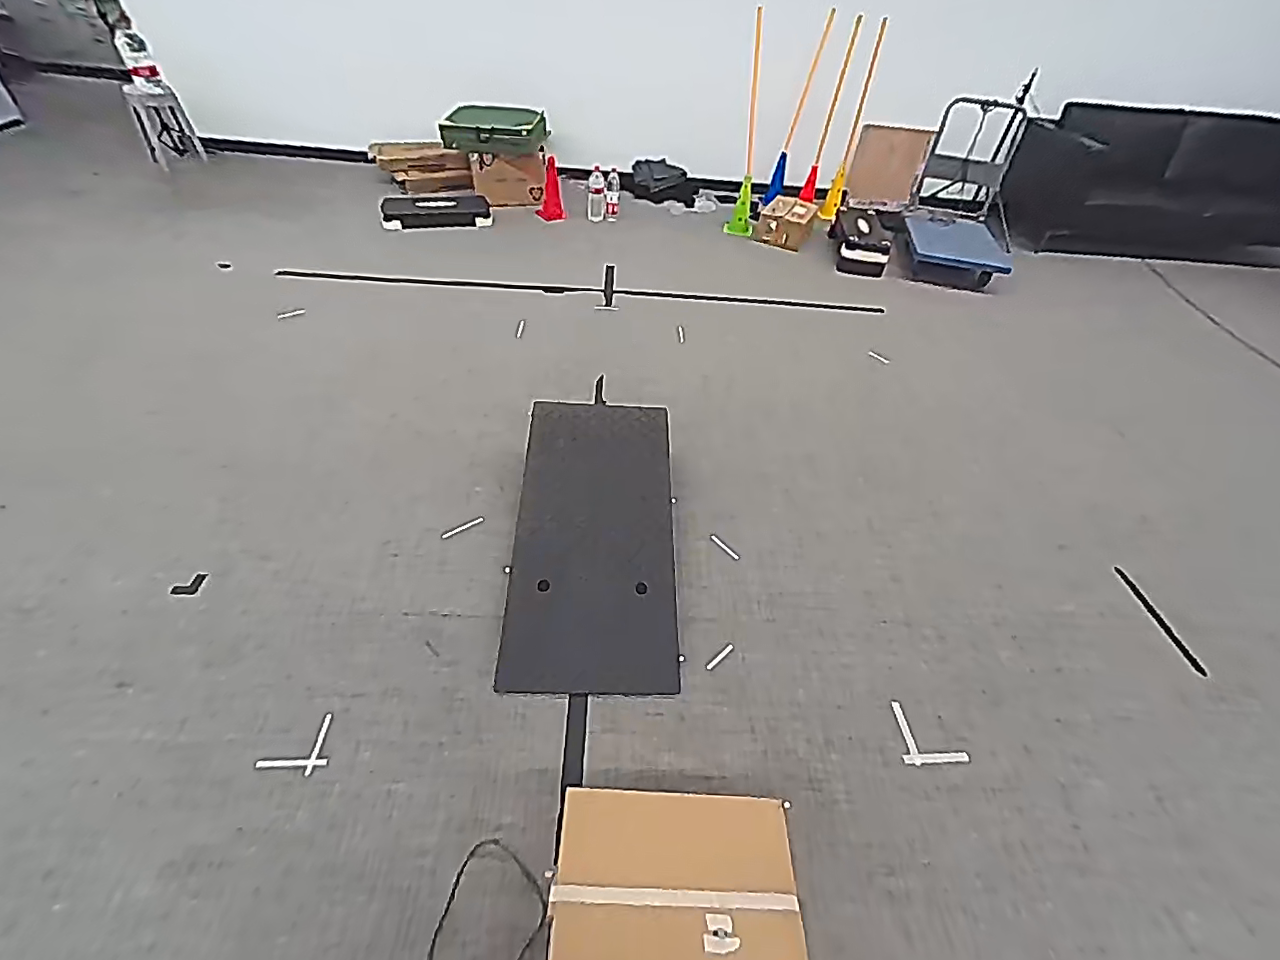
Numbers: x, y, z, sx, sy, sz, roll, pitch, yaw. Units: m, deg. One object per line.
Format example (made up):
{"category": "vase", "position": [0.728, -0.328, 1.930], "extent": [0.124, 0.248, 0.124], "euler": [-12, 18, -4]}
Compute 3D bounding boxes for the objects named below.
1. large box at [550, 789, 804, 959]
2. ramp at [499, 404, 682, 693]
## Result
{"category": "large box", "position": [0.047, 0.795, 0.990], "extent": [0.408, 0.320, 0.320], "euler": [5, 44, -3]}
{"category": "ramp", "position": [-0.126, 0.147, 1.706], "extent": [0.509, 0.206, 0.991], "euler": [2, 45, -6]}
